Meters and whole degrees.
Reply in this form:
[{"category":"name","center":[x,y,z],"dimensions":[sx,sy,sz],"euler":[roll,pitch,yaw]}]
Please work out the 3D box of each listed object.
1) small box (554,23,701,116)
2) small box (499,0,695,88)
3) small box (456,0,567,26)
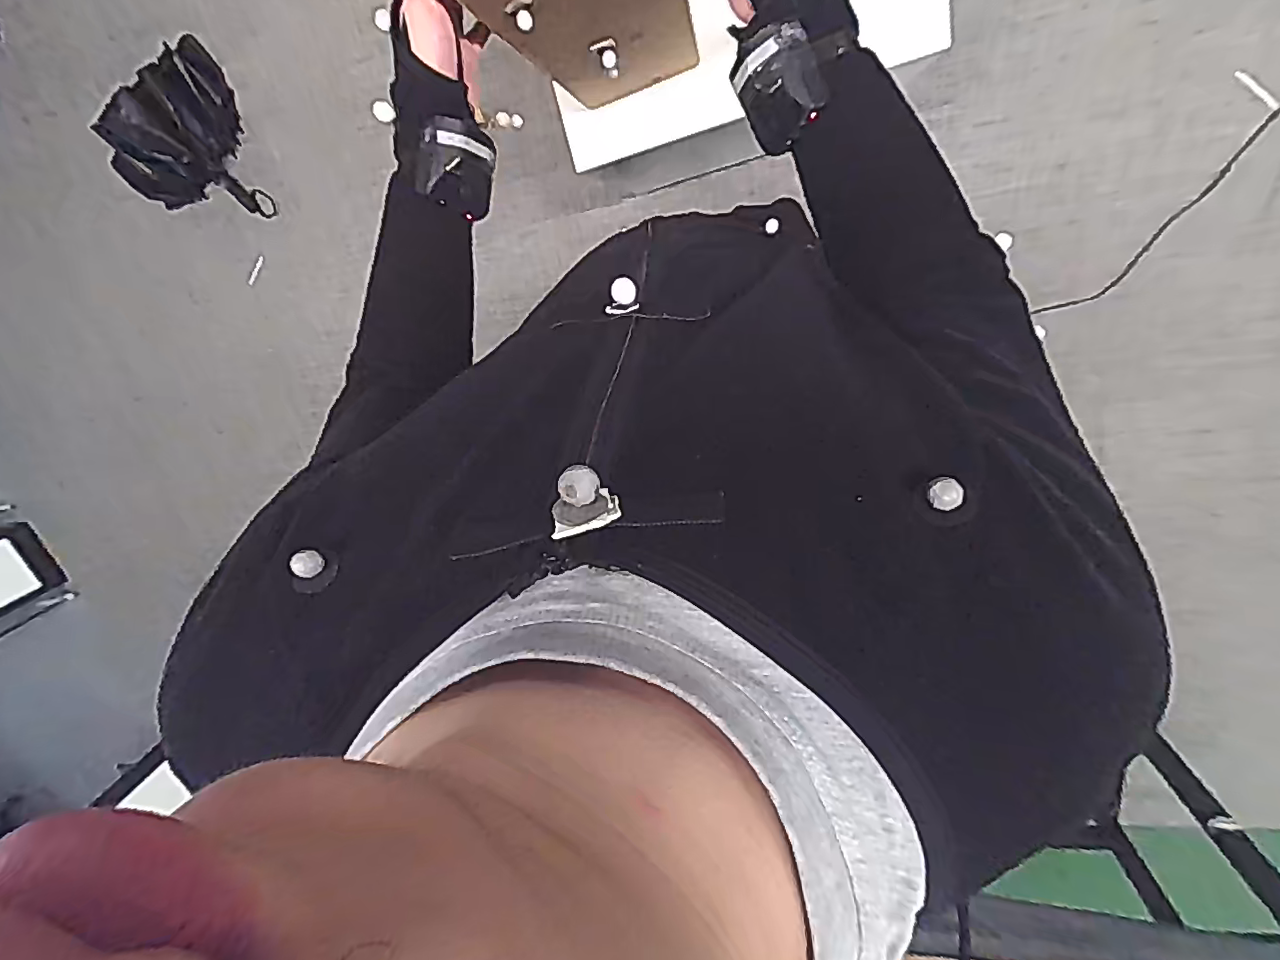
[{"category":"small box","center":[-0.029,-0.577,0.647],"dimensions":[0.168,0.176,0.179],"euler":[-12,110,15]},{"category":"small box","center":[-0.055,-0.510,0.502],"dimensions":[0.168,0.176,0.179],"euler":[-14,111,17]},{"category":"small box","center":[-0.087,-0.445,0.353],"dimensions":[0.168,0.176,0.179],"euler":[-14,108,17]}]
